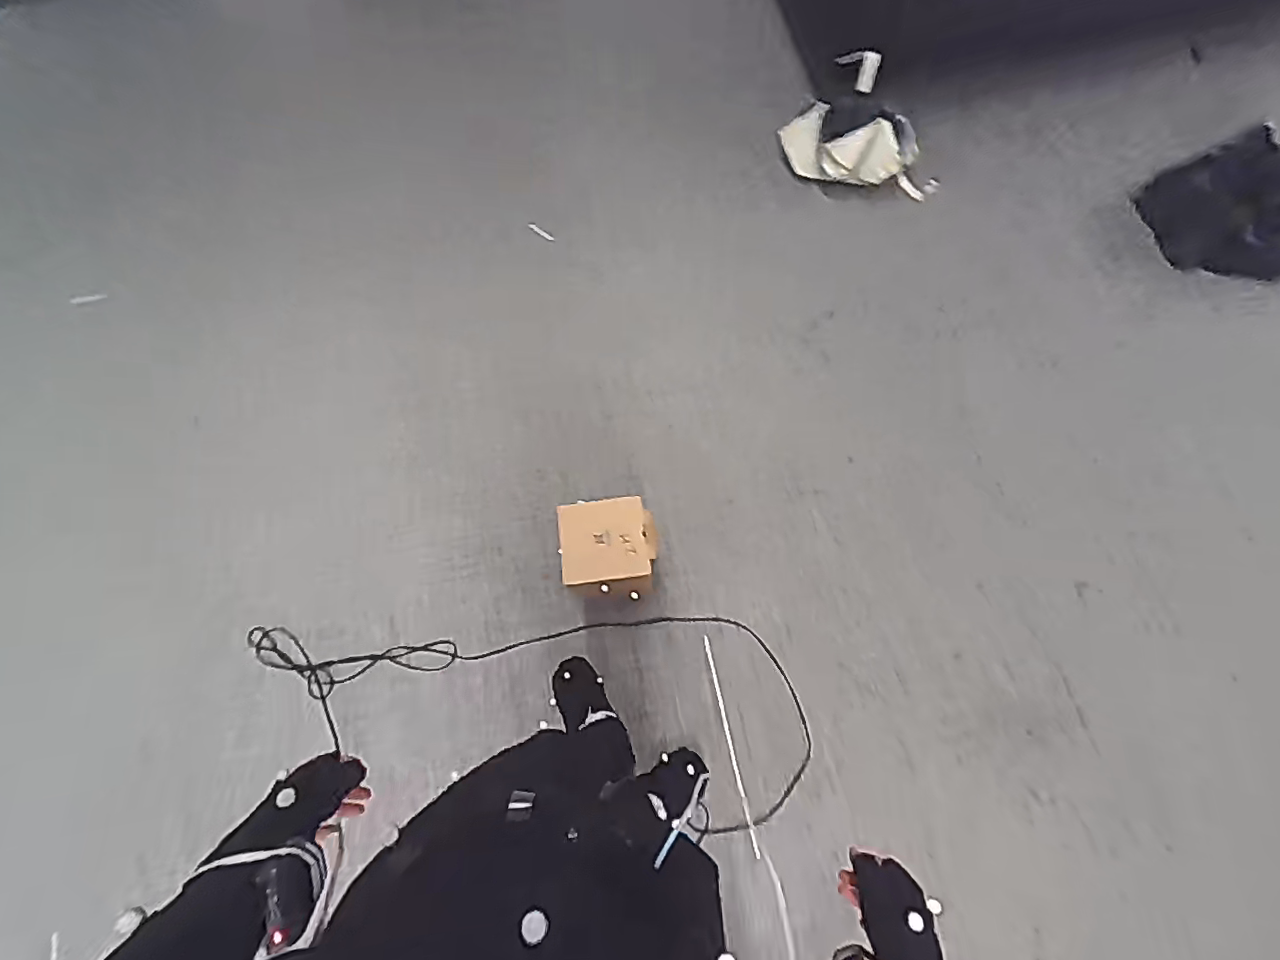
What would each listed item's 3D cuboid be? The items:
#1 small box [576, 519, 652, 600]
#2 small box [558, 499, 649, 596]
[{"bbox_3d":[-0.066,0.195,1.300,0.179,0.176,0.168,-5,72,-1],"label":"small box"},{"bbox_3d":[-0.073,0.151,1.159,0.179,0.176,0.168,-7,71,-2],"label":"small box"}]
